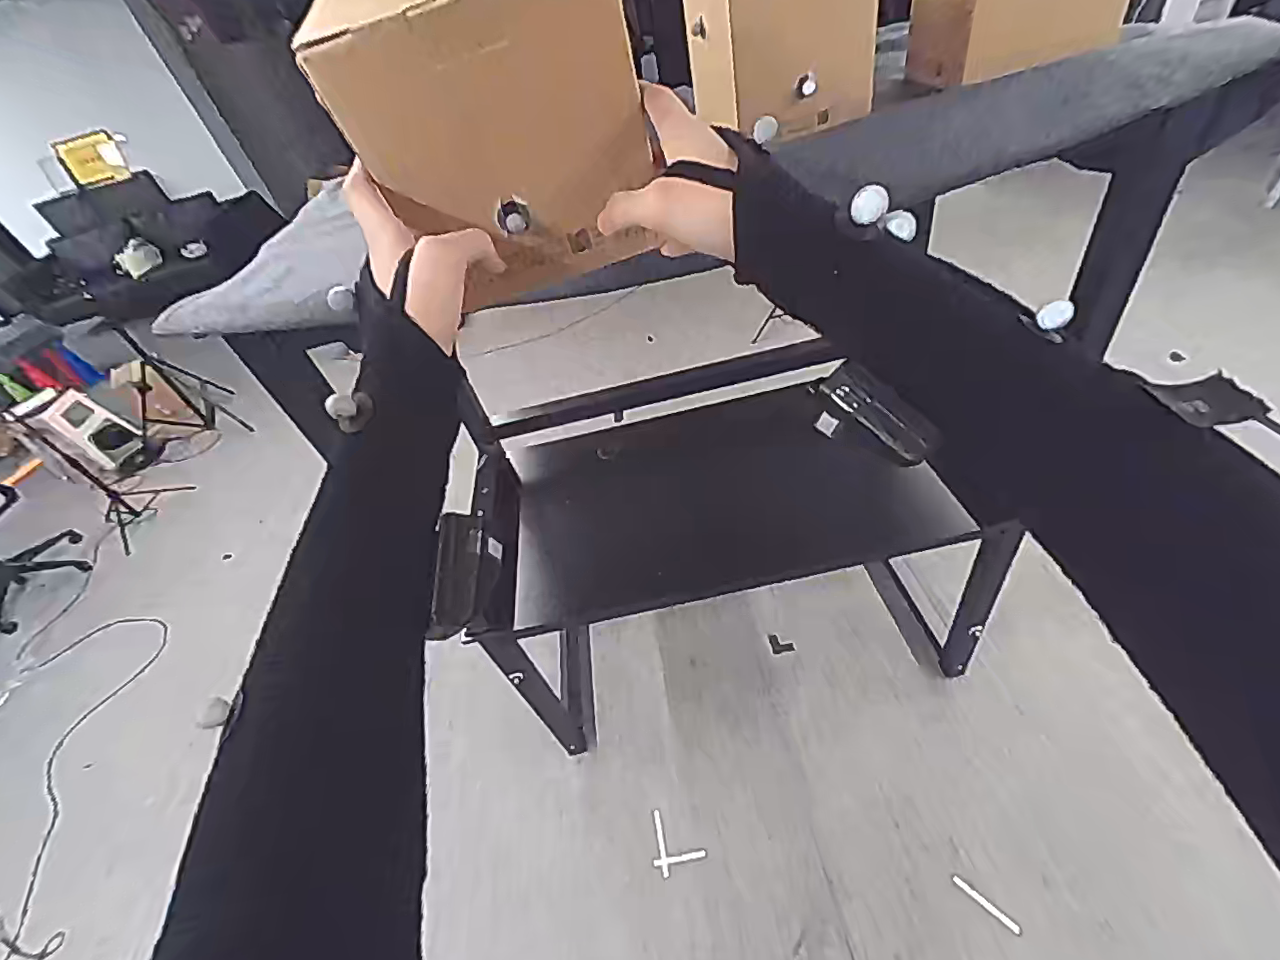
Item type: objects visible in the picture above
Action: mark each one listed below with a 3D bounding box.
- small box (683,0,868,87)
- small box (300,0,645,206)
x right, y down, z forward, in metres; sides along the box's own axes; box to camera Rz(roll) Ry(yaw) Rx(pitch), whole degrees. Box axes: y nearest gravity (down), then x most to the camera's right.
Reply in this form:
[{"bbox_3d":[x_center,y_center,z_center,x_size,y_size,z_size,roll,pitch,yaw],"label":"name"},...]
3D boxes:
[{"bbox_3d":[0.145,-0.571,0.615,0.168,0.176,0.179,-17,43,-1],"label":"small box"},{"bbox_3d":[-0.105,-0.308,0.335,0.168,0.176,0.179,-17,56,4],"label":"small box"}]
